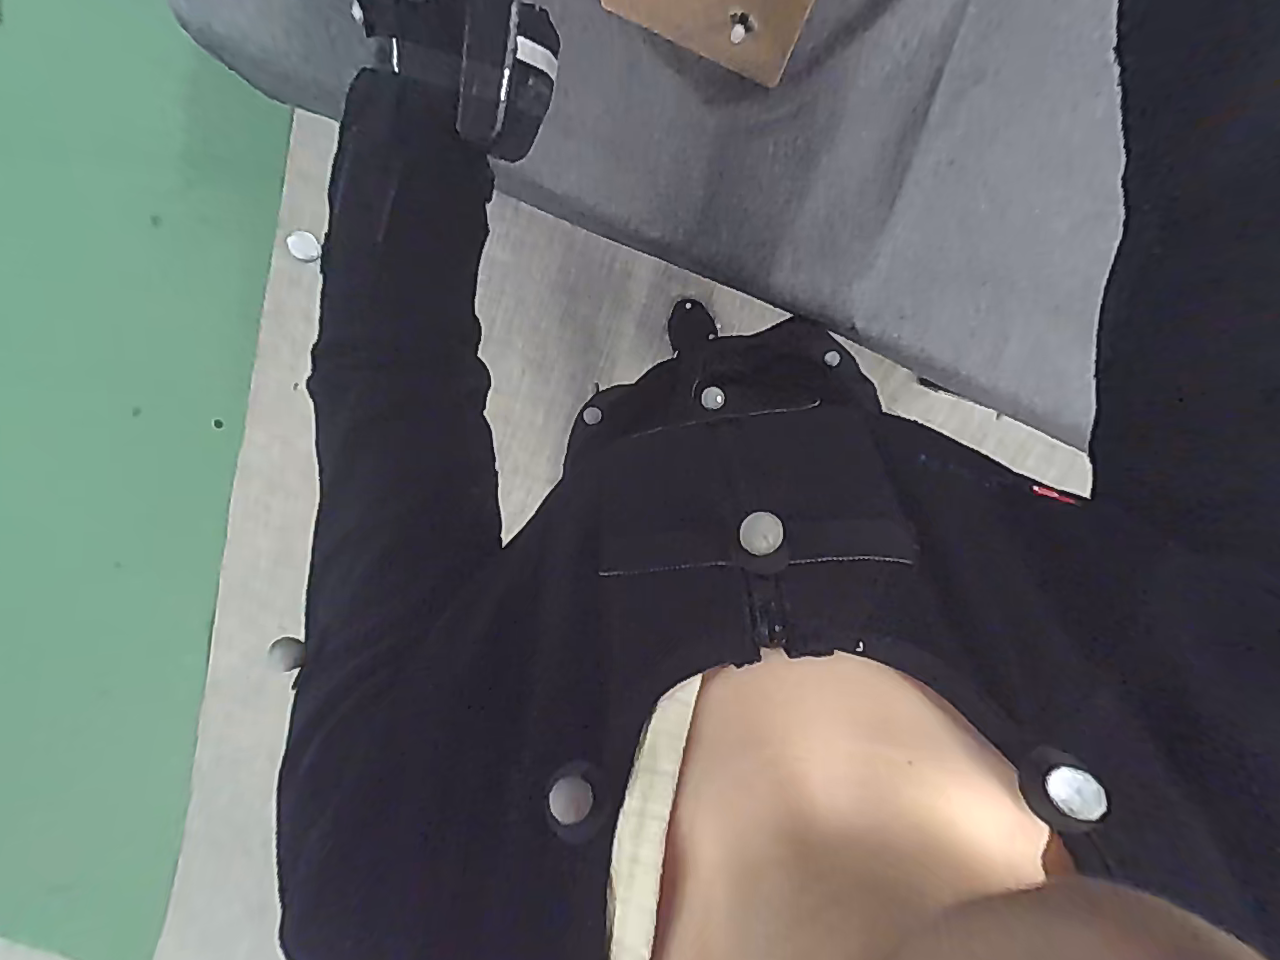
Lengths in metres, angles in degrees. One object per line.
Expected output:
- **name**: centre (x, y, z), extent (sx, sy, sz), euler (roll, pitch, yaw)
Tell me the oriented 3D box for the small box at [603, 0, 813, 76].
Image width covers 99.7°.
- **small box**: centre (0.069, -0.439, 0.393), extent (0.179, 0.176, 0.168), euler (23, 106, -3)
